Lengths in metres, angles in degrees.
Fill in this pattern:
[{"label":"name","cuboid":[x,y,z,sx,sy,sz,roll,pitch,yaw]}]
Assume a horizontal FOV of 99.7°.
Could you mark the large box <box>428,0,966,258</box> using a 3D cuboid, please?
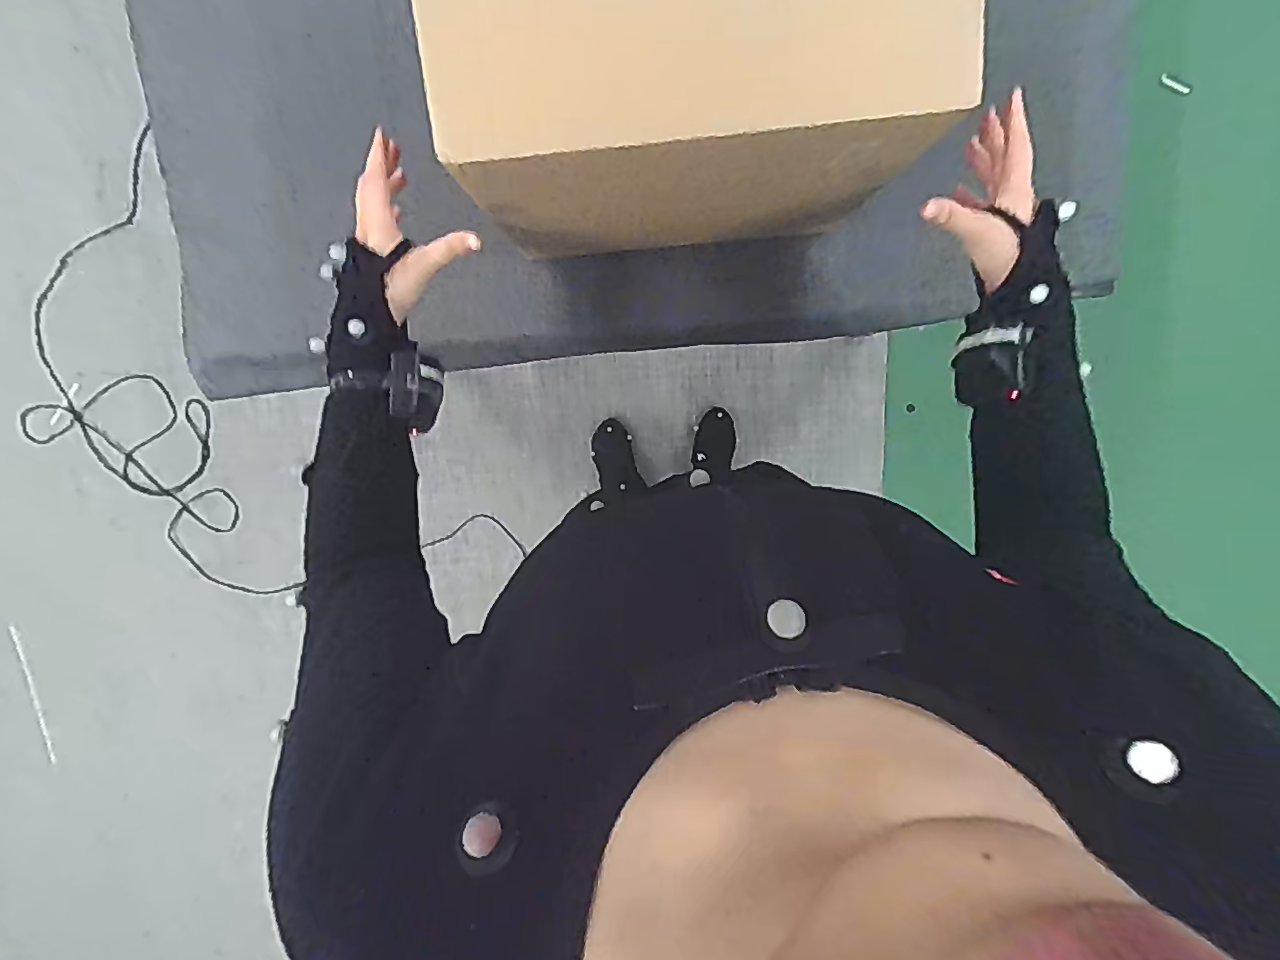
[{"label":"large box","cuboid":[0.033,-0.437,0.537,0.408,0.320,0.320,-6,100,1]}]
